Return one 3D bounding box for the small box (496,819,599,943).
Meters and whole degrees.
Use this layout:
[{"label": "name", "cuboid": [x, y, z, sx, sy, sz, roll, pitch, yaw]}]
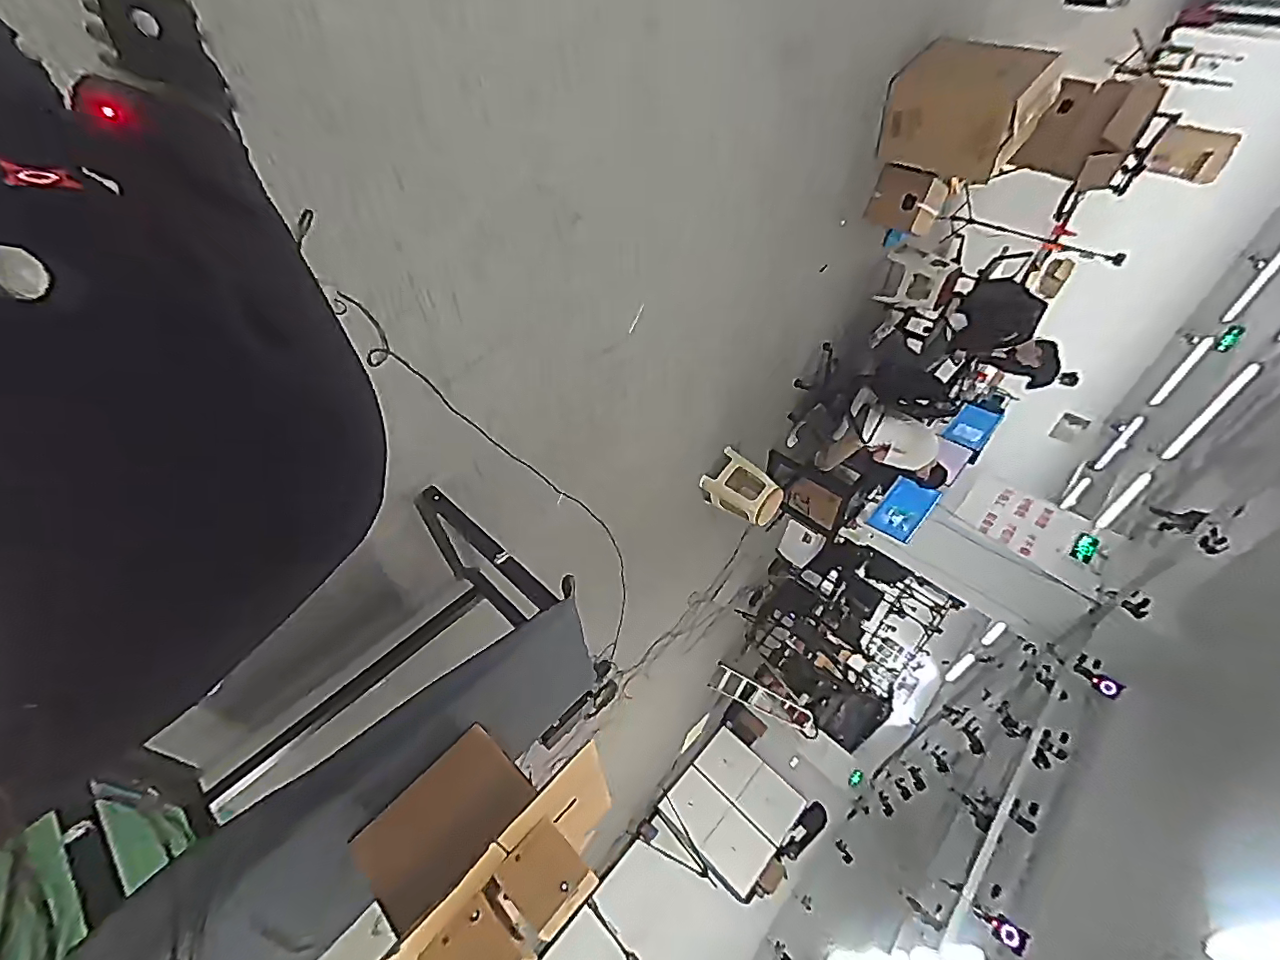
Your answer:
[{"label": "small box", "cuboid": [-0.220, 0.958, 1.299, 0.168, 0.176, 0.179, -40, 147, -30]}]
